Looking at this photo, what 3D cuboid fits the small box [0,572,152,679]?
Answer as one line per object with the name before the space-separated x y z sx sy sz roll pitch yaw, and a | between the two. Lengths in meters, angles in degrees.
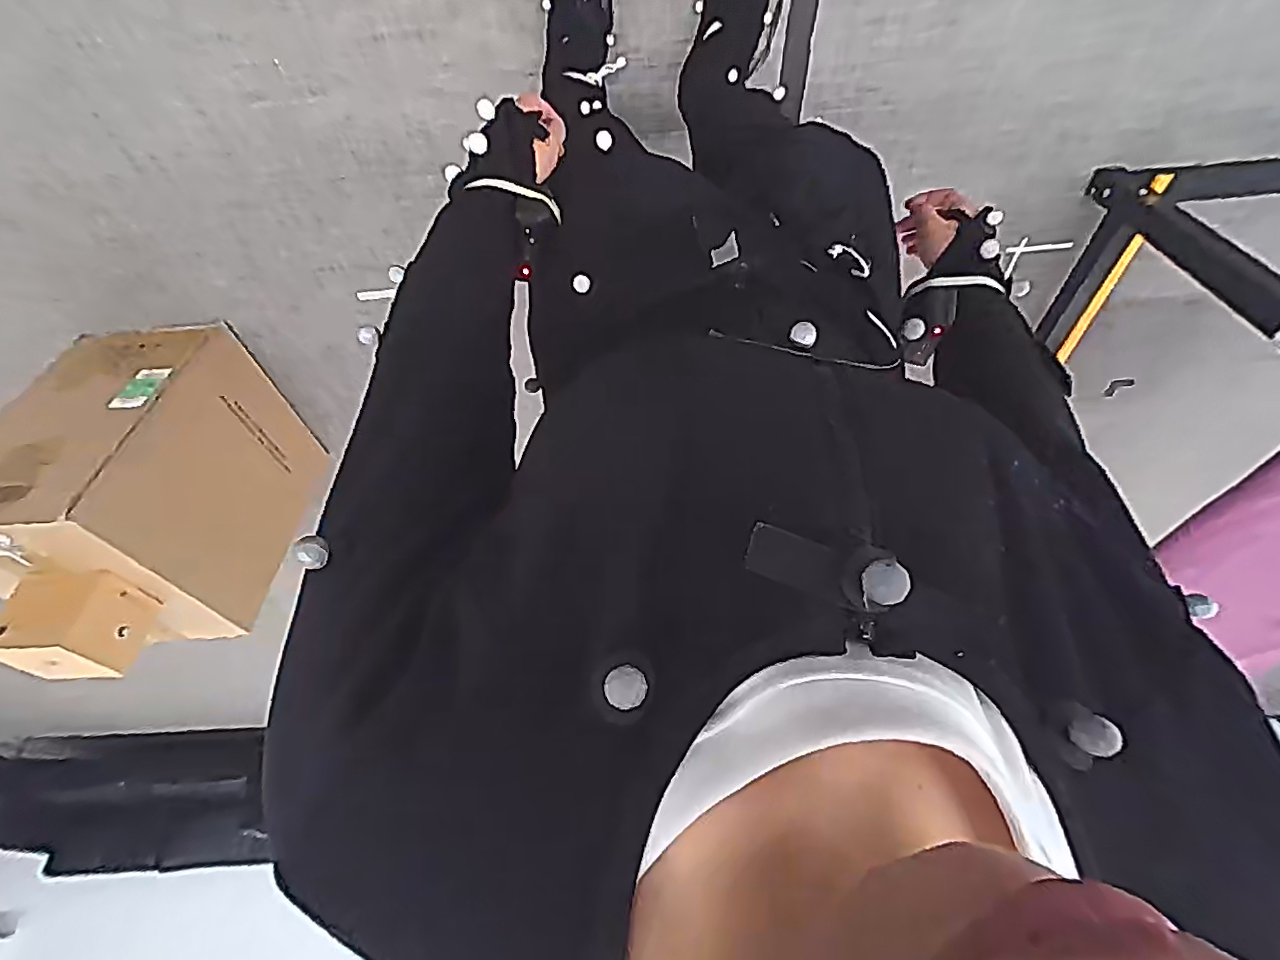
small box | -1.173 0.299 1.119 0.179 0.176 0.168 -2 141 1
